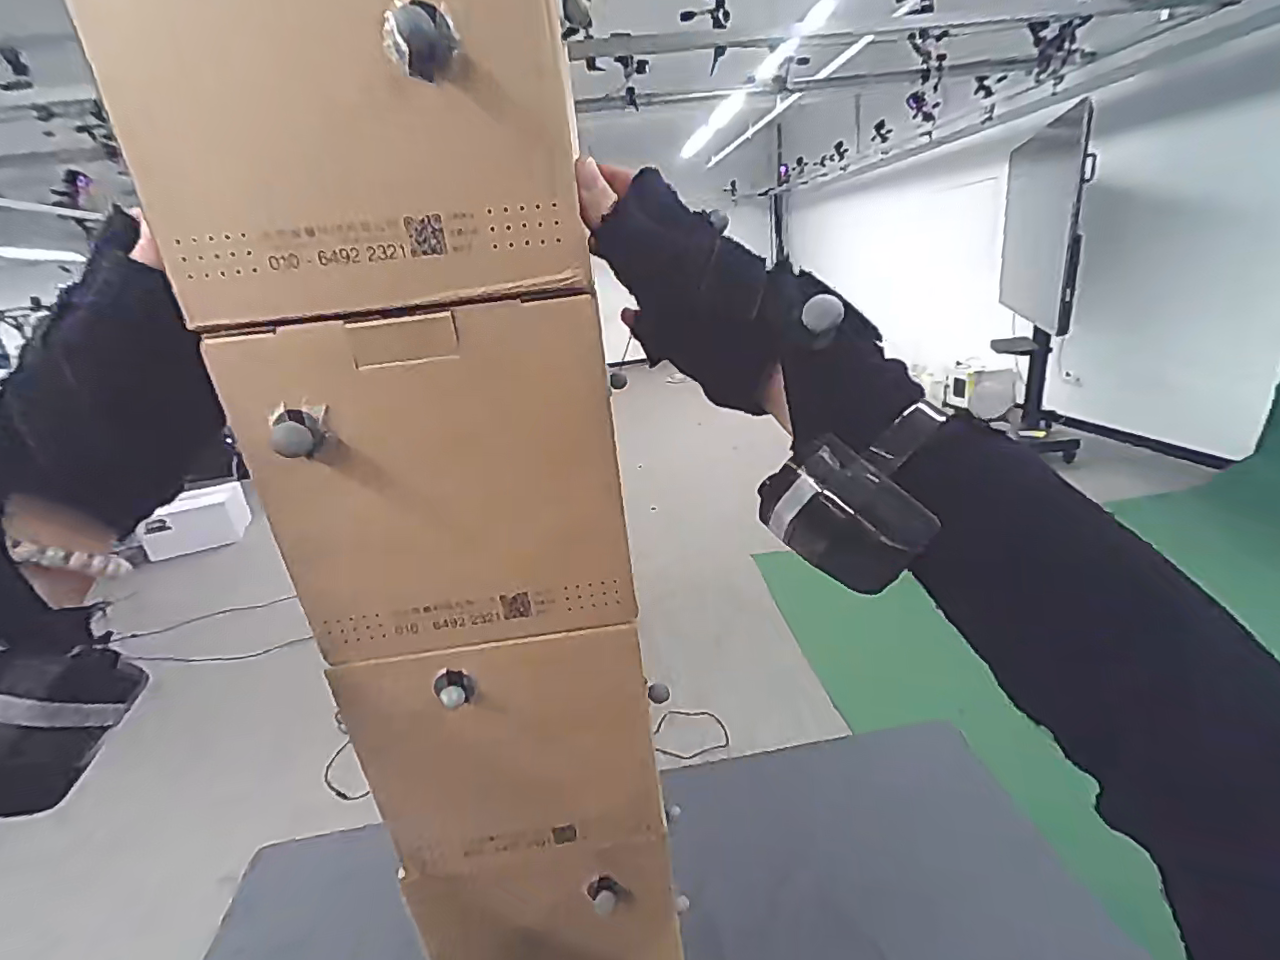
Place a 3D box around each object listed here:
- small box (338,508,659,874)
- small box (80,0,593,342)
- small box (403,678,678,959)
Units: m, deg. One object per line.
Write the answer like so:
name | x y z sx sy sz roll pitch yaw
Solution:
small box | -0.081 0.138 0.397 0.168 0.176 0.179 -8 20 -2
small box | -0.118 -0.170 0.285 0.168 0.176 0.179 -6 20 -1
small box | -0.066 0.290 0.454 0.179 0.176 0.168 -8 20 -3
